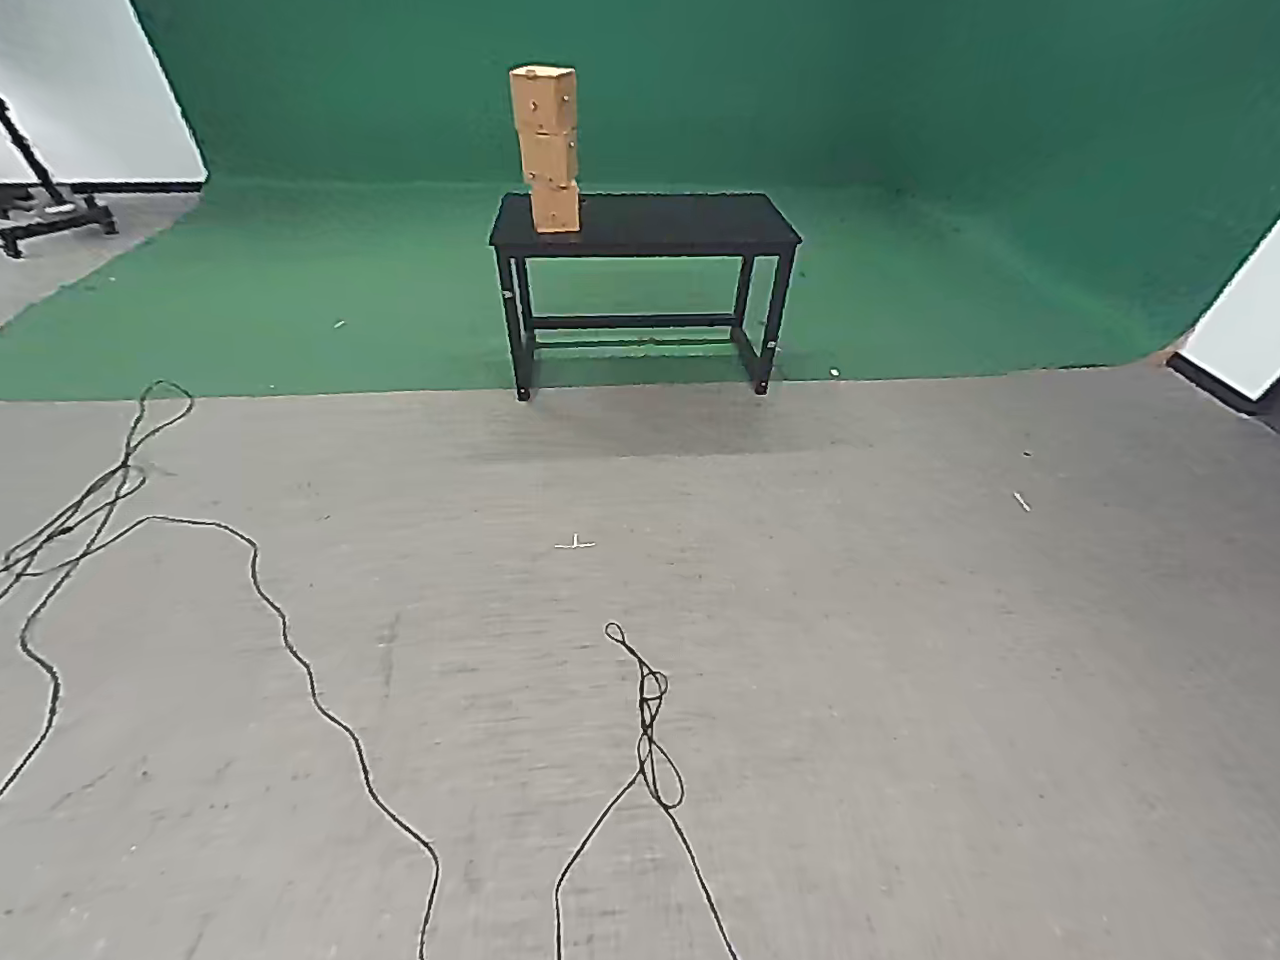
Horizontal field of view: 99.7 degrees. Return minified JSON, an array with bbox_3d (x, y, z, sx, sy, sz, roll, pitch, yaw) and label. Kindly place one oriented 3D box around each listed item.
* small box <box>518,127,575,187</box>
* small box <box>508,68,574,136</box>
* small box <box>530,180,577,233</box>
[{"bbox_3d":[-0.339,-1.203,2.007,0.168,0.176,0.179,7,43,5],"label":"small box"},{"bbox_3d":[-0.338,-1.327,1.899,0.168,0.176,0.179,15,46,12],"label":"small box"},{"bbox_3d":[-0.340,-1.083,2.120,0.168,0.176,0.179,-8,45,-11],"label":"small box"}]
